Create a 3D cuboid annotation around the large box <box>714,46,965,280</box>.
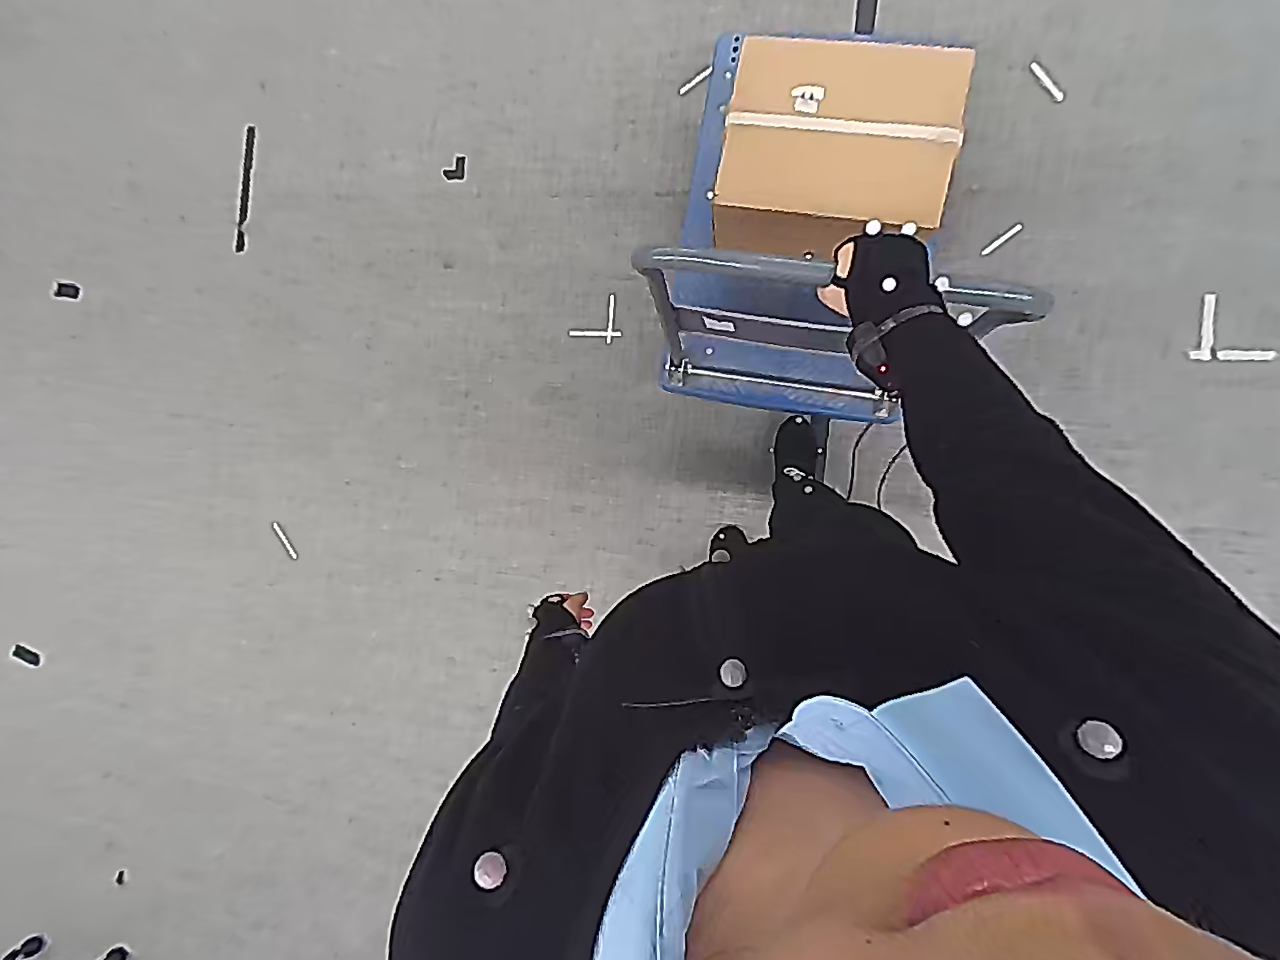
[{"bbox_3d":[0.387,-0.639,1.136,0.408,0.320,0.320,11,91,11],"label":"large box"}]
